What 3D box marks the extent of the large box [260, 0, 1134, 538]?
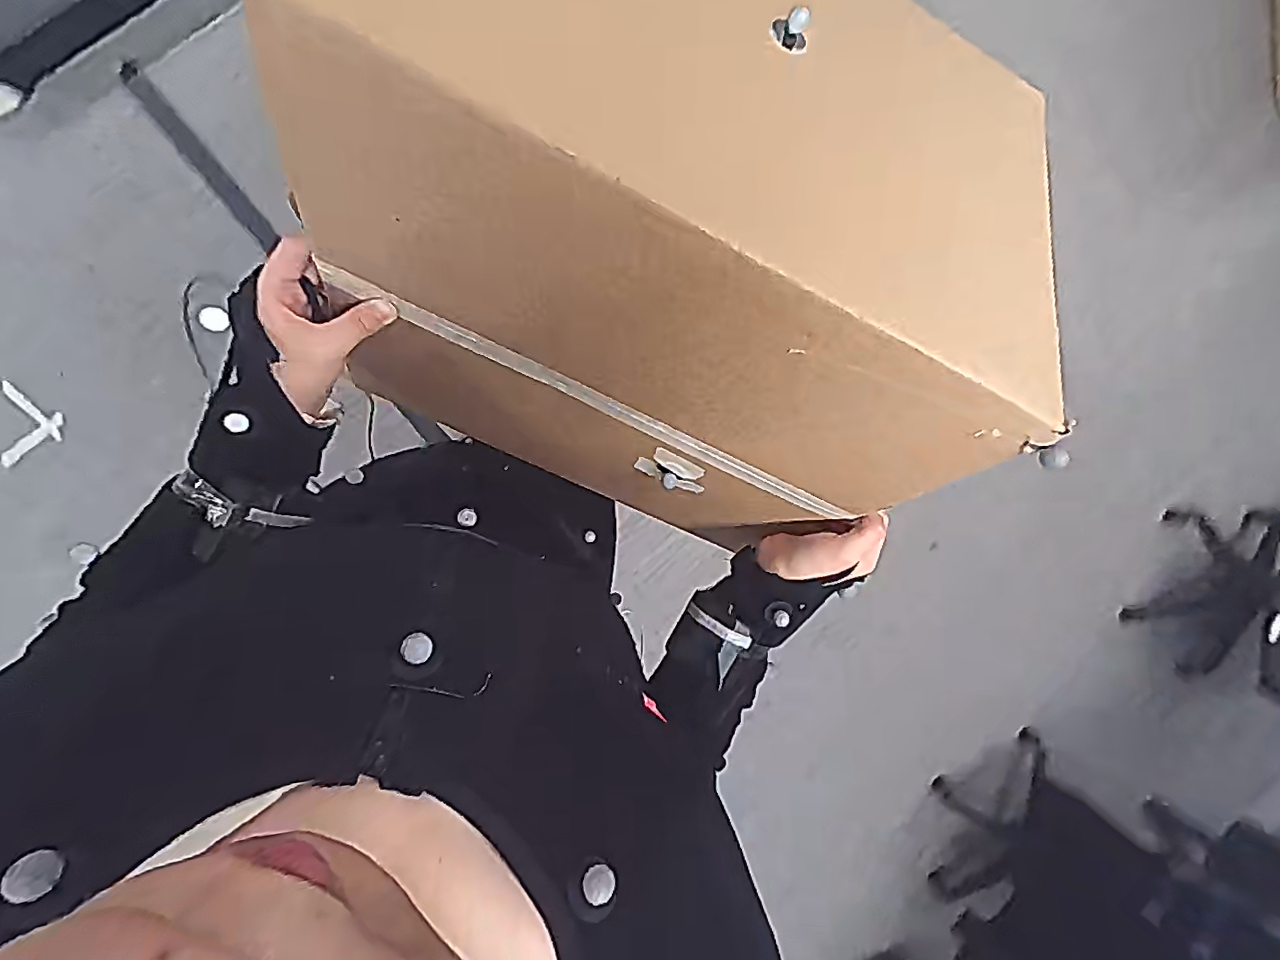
[{"bbox_3d":[0.038,-0.197,0.410,0.408,0.320,0.320,22,66,-10],"label":"large box"}]
